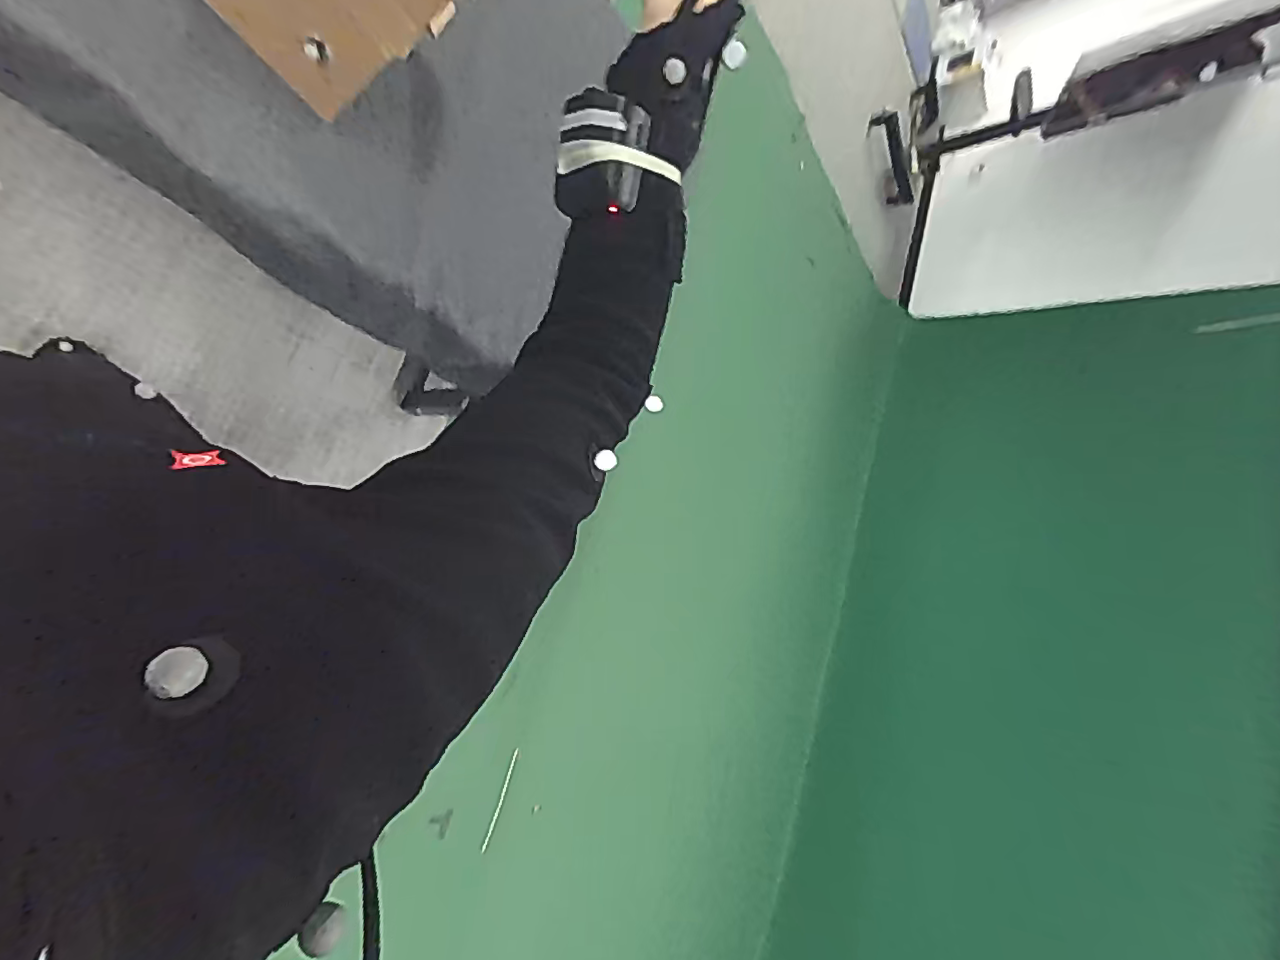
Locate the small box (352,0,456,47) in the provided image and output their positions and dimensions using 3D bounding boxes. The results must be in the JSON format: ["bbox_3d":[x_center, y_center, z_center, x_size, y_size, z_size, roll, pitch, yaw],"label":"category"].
[{"bbox_3d":[-0.174,-0.487,0.403,0.179,0.176,0.168,43,63,-44],"label":"small box"}]

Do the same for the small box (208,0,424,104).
[{"bbox_3d":[-0.298,-0.497,0.507,0.179,0.176,0.168,42,63,-43],"label":"small box"}]
